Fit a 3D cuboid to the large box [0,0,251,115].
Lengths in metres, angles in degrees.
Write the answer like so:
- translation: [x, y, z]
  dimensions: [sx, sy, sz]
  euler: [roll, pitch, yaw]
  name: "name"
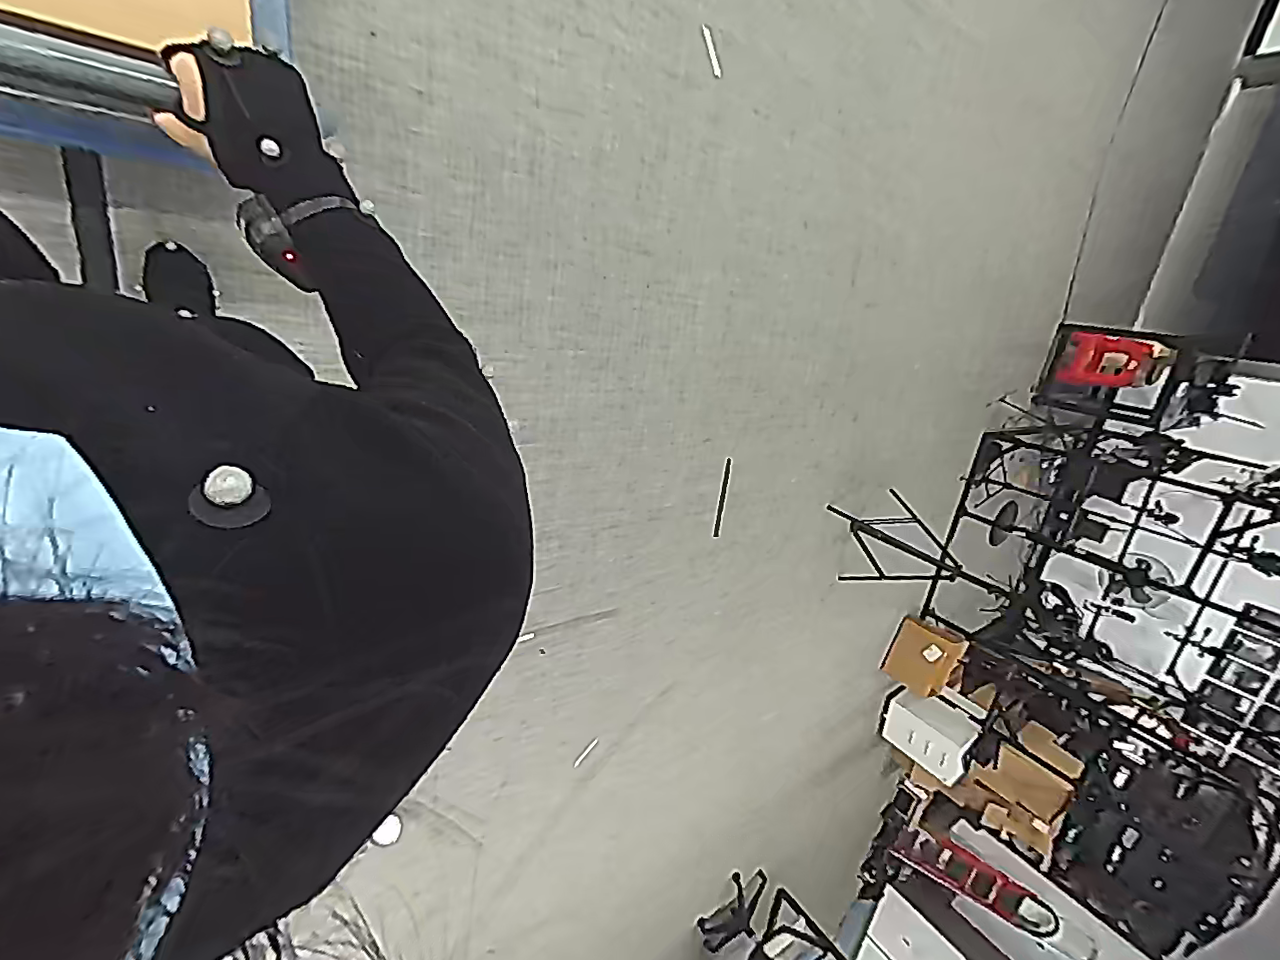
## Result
- translation: [-0.741, -0.690, 0.647]
  dimensions: [0.408, 0.320, 0.320]
  euler: [-8, 115, -37]
  name: "large box"
